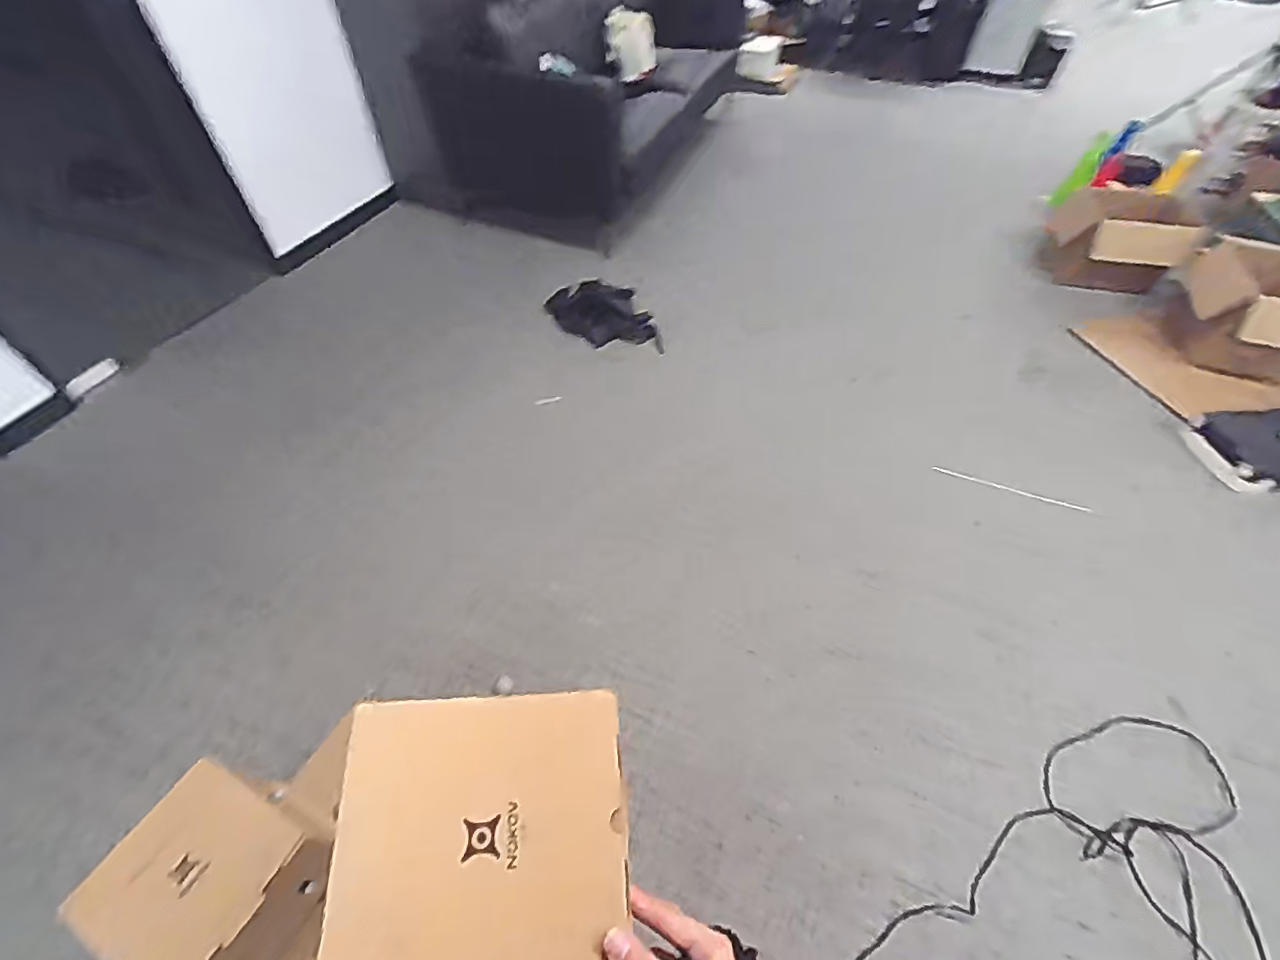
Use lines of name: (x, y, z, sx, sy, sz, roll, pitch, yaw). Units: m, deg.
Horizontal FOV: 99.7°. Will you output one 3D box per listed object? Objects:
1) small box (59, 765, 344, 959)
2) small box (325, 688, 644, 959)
small box: (-0.479, 0.472, 0.632, 0.179, 0.176, 0.168, 21, 51, 16)
small box: (-0.109, 0.256, 0.398, 0.179, 0.176, 0.168, 3, 61, -17)
